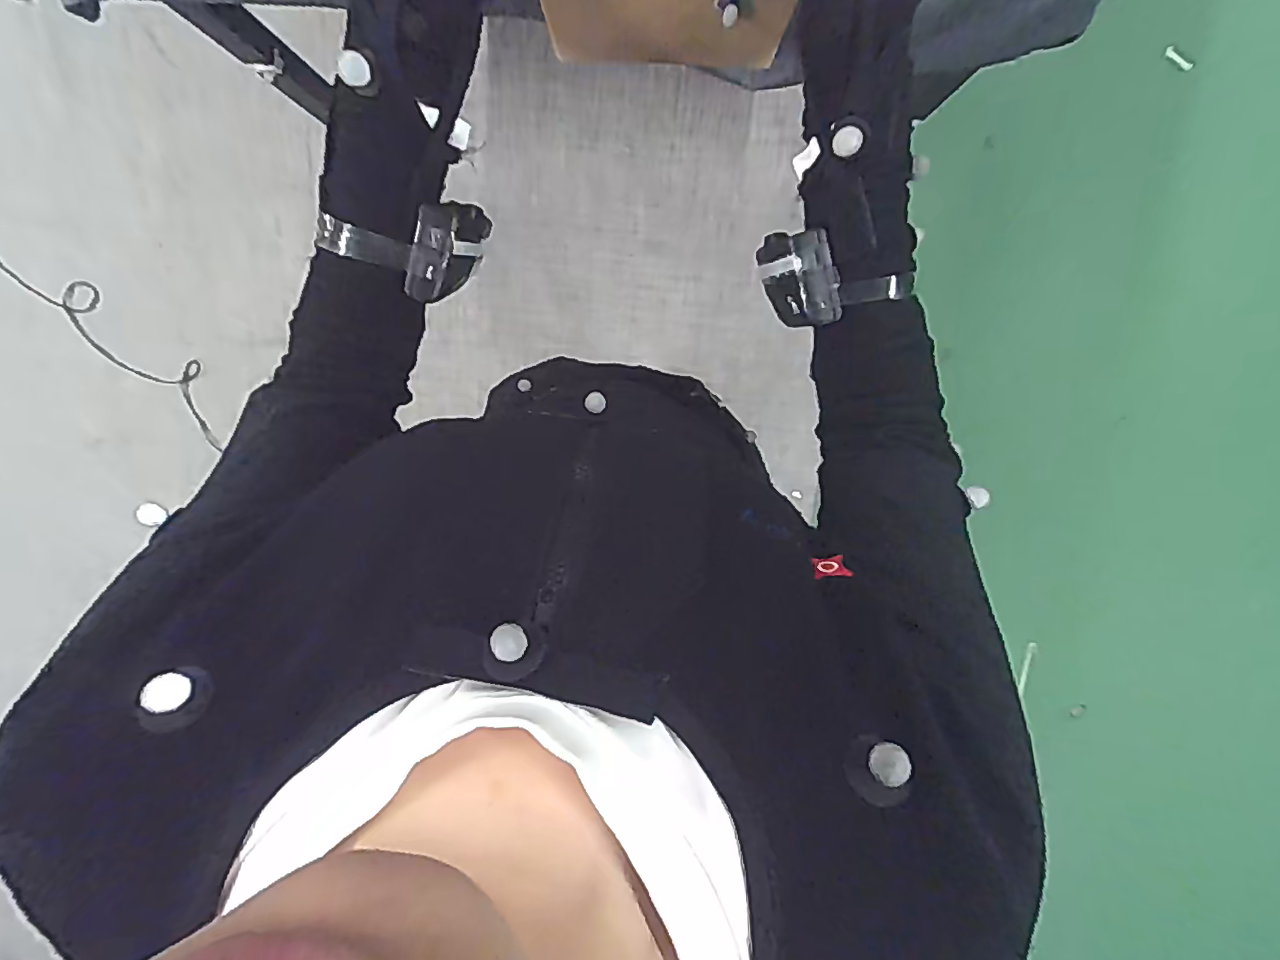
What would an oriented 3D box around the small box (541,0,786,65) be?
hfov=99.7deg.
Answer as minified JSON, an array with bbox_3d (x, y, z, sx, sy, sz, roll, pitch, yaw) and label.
[{"bbox_3d":[0.019,-0.403,0.348,0.179,0.176,0.168,1,103,2],"label":"small box"}]
